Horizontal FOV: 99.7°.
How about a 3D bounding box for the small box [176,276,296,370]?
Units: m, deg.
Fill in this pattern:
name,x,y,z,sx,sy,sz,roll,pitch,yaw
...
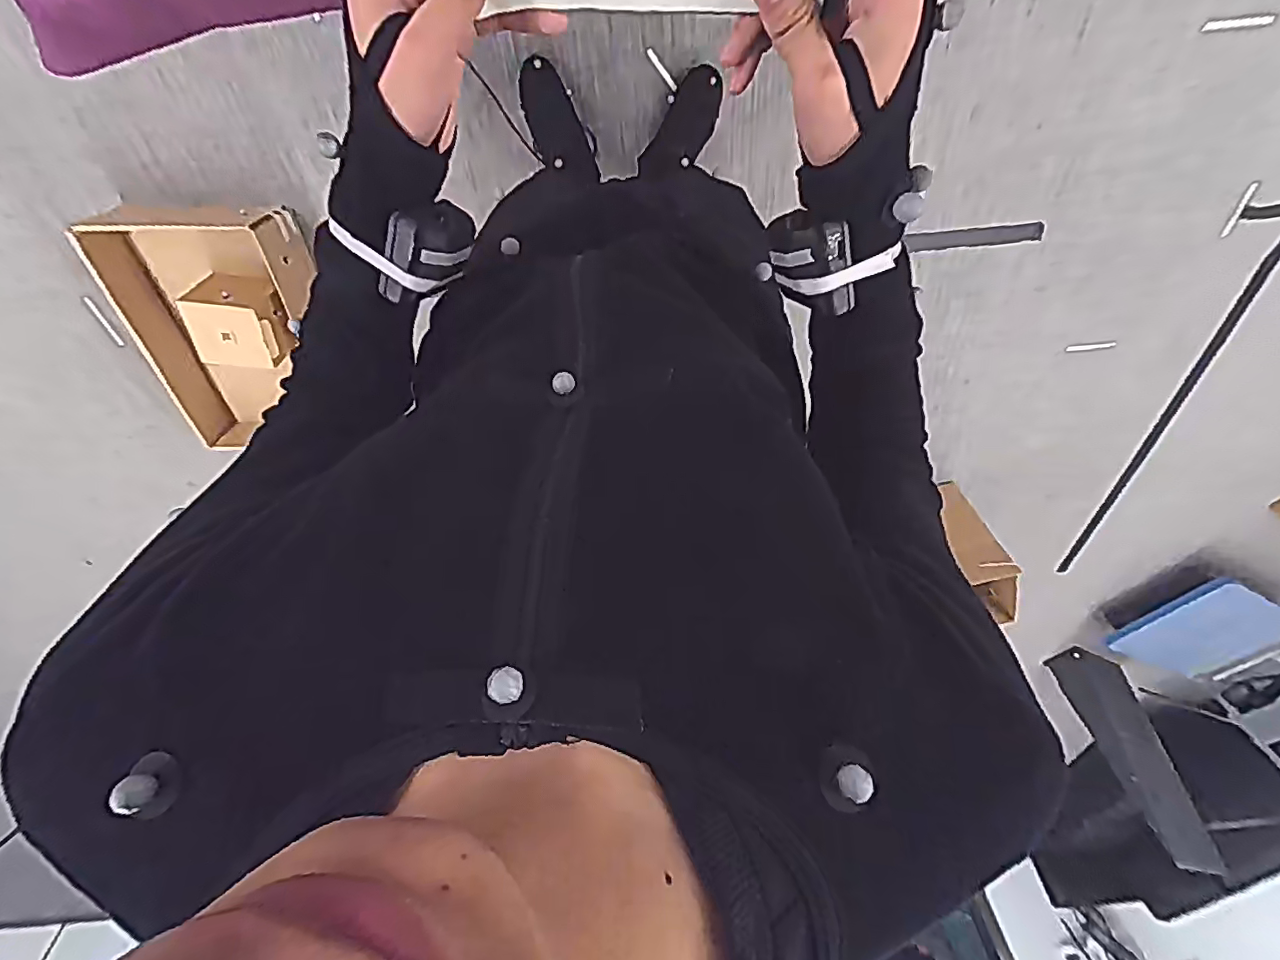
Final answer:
name,x,y,z,sx,sy,sz,roll,pitch,yaw
small box,-1.006,-0.401,1.371,0.179,0.176,0.168,4,131,-9
